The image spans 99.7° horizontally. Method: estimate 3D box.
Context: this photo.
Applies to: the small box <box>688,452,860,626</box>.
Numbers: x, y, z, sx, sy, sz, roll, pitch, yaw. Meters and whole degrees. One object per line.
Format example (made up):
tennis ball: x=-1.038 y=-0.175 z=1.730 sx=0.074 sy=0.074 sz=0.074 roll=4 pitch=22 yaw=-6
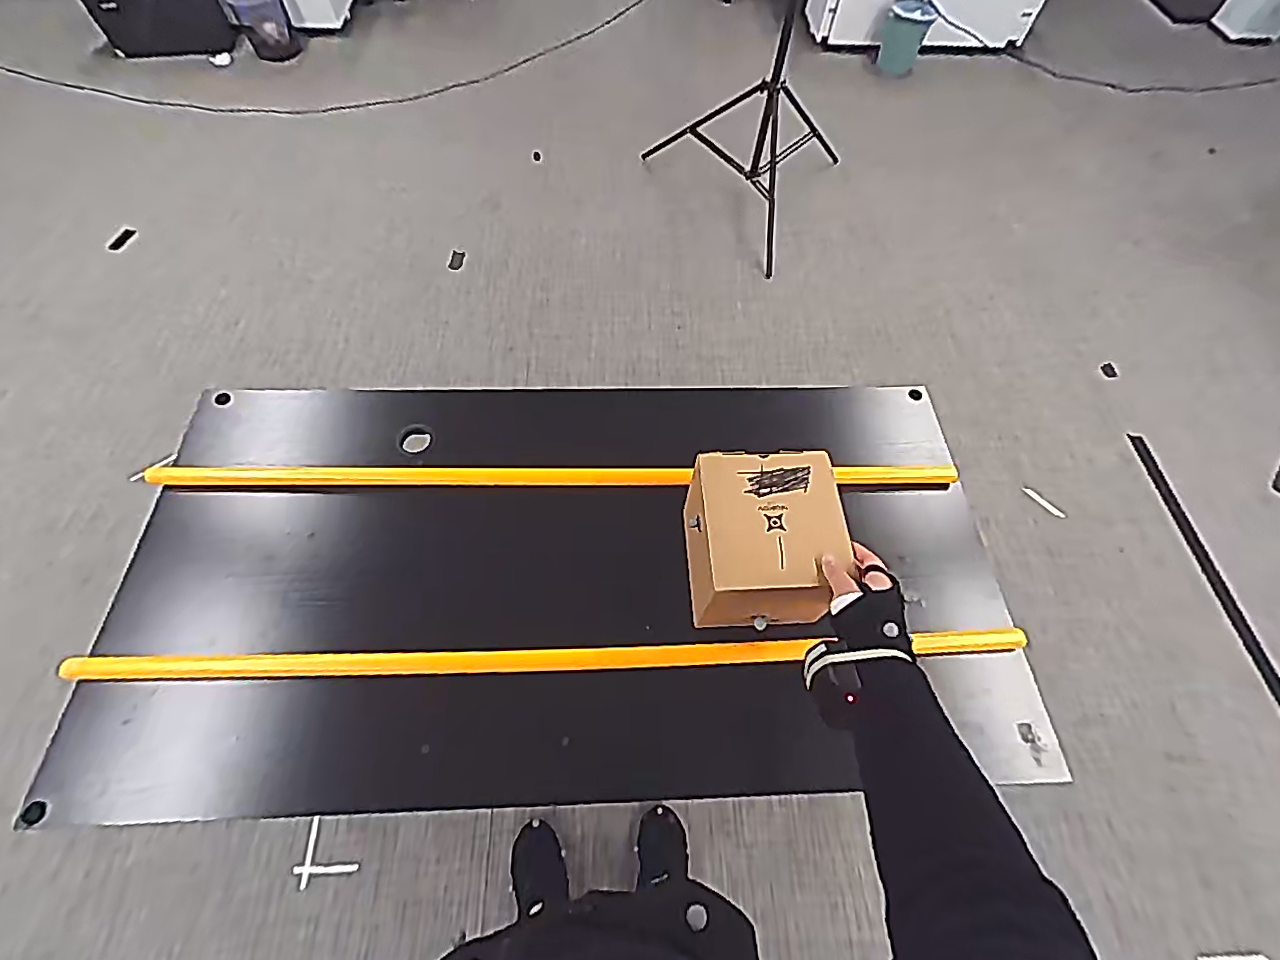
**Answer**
small box: x=0.156 y=0.080 z=0.704 sx=0.168 sy=0.176 sz=0.179 roll=-2 pitch=62 yaw=-2
